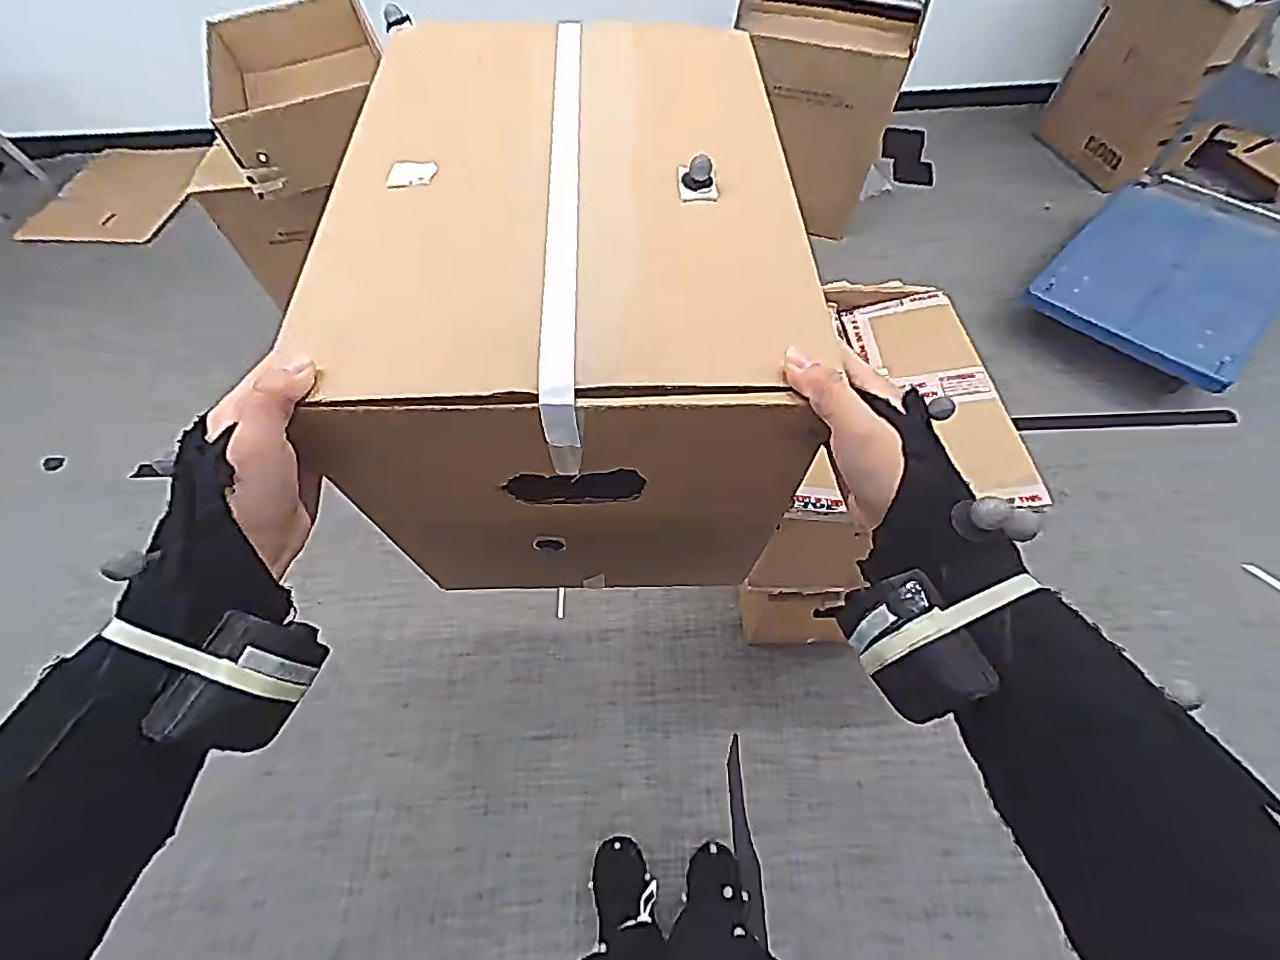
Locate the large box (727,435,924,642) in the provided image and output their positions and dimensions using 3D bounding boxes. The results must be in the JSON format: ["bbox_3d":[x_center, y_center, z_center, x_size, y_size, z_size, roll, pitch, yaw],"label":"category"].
[{"bbox_3d":[0.406,0.145,1.304,0.320,0.320,0.408,-3,59,0],"label":"large box"}]
